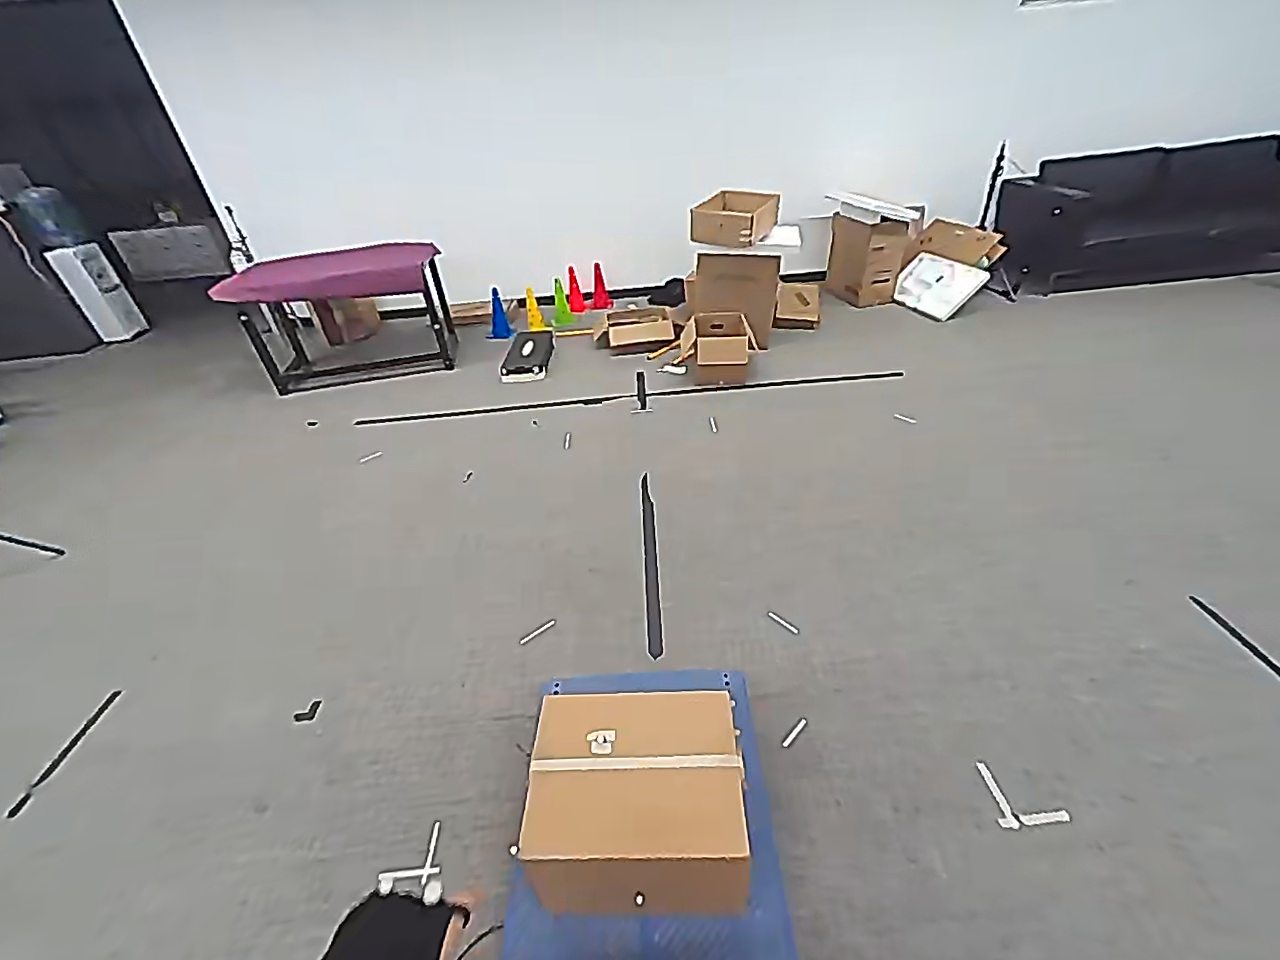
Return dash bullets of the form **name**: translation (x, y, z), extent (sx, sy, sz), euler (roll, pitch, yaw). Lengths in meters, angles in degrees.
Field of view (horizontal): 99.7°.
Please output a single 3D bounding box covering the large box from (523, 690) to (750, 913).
- **large box**: translation (0.005, 0.678, 1.144), extent (0.408, 0.320, 0.320), euler (-4, 35, 4)
